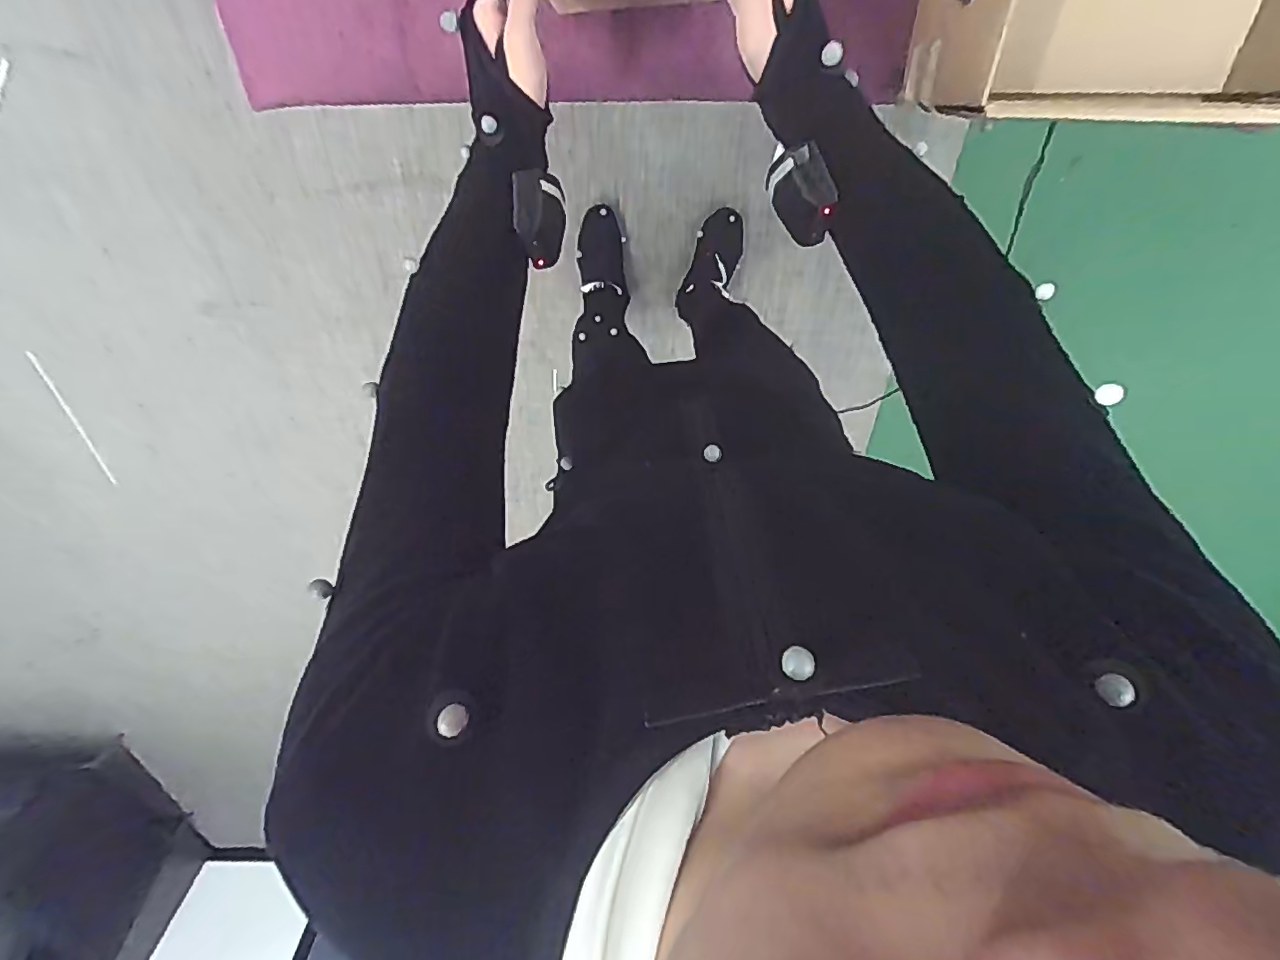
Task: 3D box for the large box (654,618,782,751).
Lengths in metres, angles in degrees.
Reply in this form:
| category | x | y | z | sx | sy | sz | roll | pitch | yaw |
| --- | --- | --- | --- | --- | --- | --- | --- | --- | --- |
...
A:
| category | x | y | z | sx | sy | sz | roll | pitch | yaw |
| --- | --- | --- | --- | --- | --- | --- | --- | --- | --- |
| large box | 0.304 | 0.831 | 2.199 | 0.408 | 0.320 | 0.320 | -26 | 121 | 16 |

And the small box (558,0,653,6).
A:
| category | x | y | z | sx | sy | sz | roll | pitch | yaw |
| --- | --- | --- | --- | --- | --- | --- | --- | --- | --- |
| small box | -0.013 | -0.531 | 0.453 | 0.179 | 0.176 | 0.168 | -2 | 116 | 4 |
